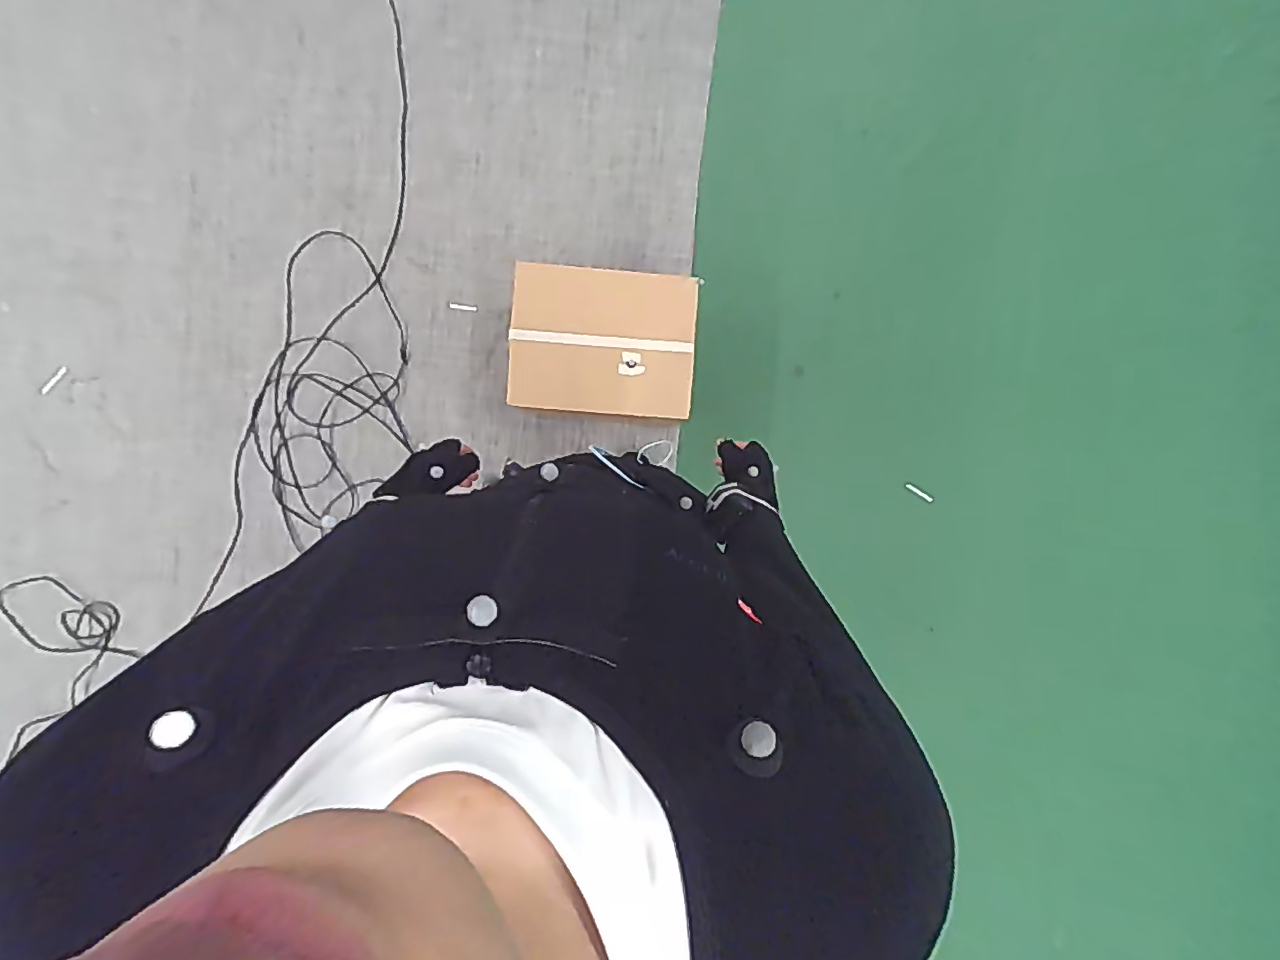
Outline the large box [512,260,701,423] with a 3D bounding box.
[{"bbox_3d":[-0.082,-0.316,1.328,0.408,0.320,0.320,4,93,-3],"label":"large box"}]
